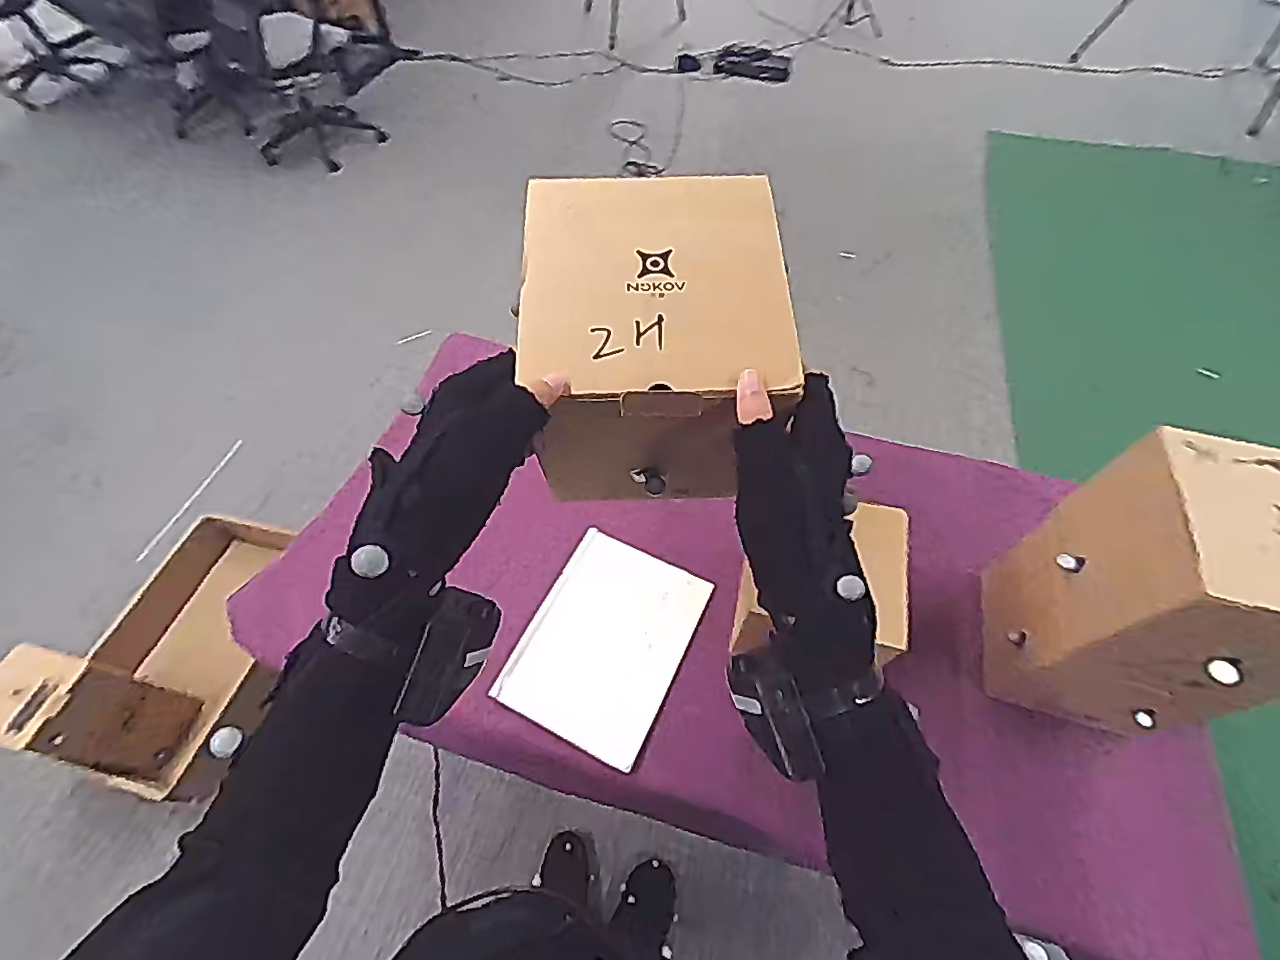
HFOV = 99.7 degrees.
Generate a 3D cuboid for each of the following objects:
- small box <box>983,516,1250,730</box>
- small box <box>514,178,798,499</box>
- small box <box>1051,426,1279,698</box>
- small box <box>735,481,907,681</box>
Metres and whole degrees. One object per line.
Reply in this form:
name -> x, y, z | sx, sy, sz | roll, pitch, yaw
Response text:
small box -> 0.534, 0.175, 0.641 | 0.168, 0.176, 0.179 | 15, 58, 11
small box -> 0.006, -0.097, 0.414 | 0.168, 0.176, 0.179 | -1, 67, -1
small box -> 0.526, 0.083, 0.505 | 0.168, 0.176, 0.179 | 15, 59, 10
small box -> 0.218, 0.131, 0.677 | 0.168, 0.176, 0.179 | 12, 57, 9
